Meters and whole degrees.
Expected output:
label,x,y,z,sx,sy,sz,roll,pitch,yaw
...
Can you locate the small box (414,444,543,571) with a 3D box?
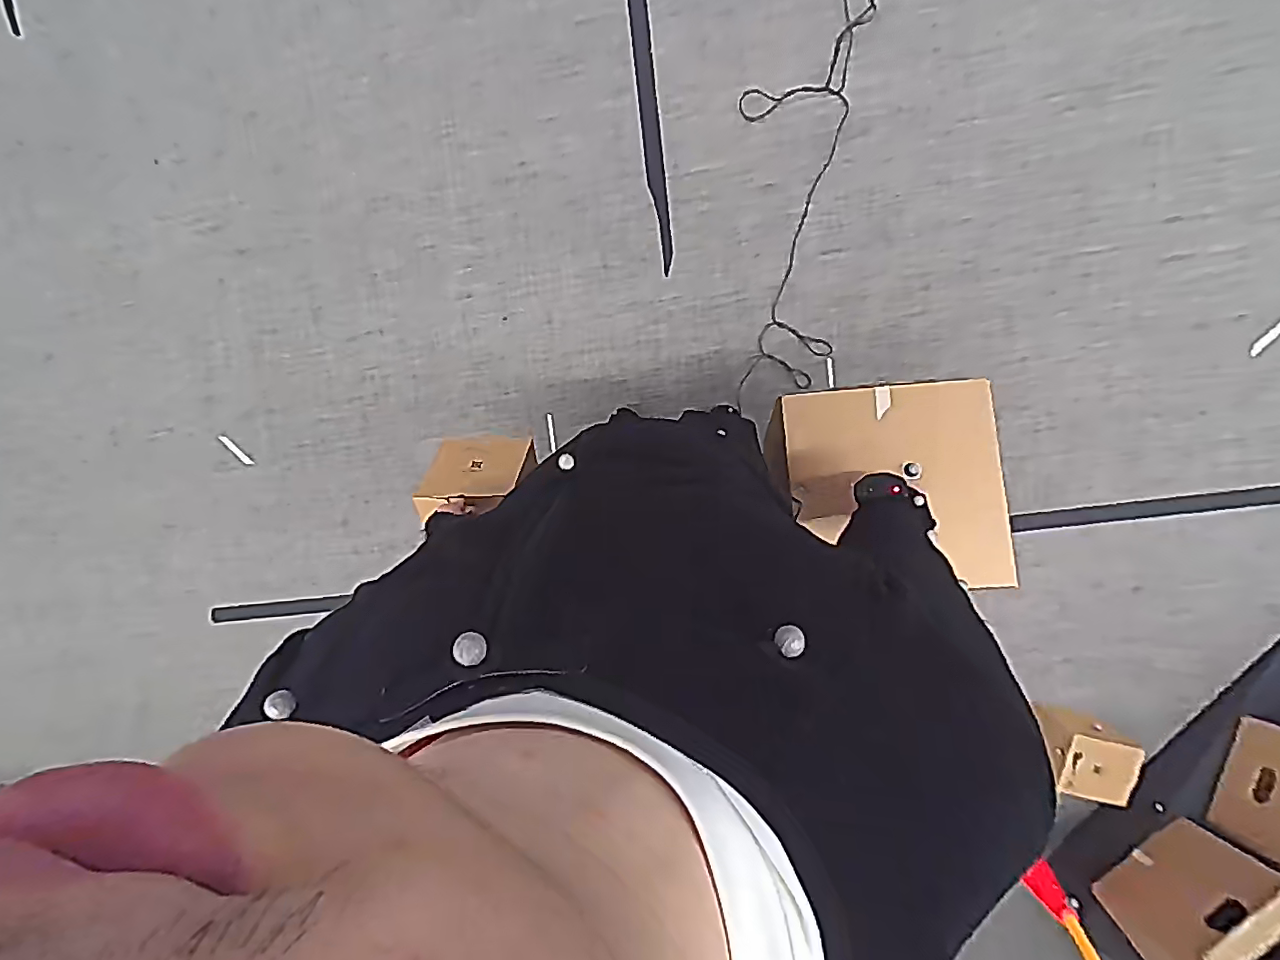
label,x,y,z,sx,sy,sz,roll,pitch,yaw
small box,-0.280,0.052,0.989,0.168,0.179,0.176,0,126,3
